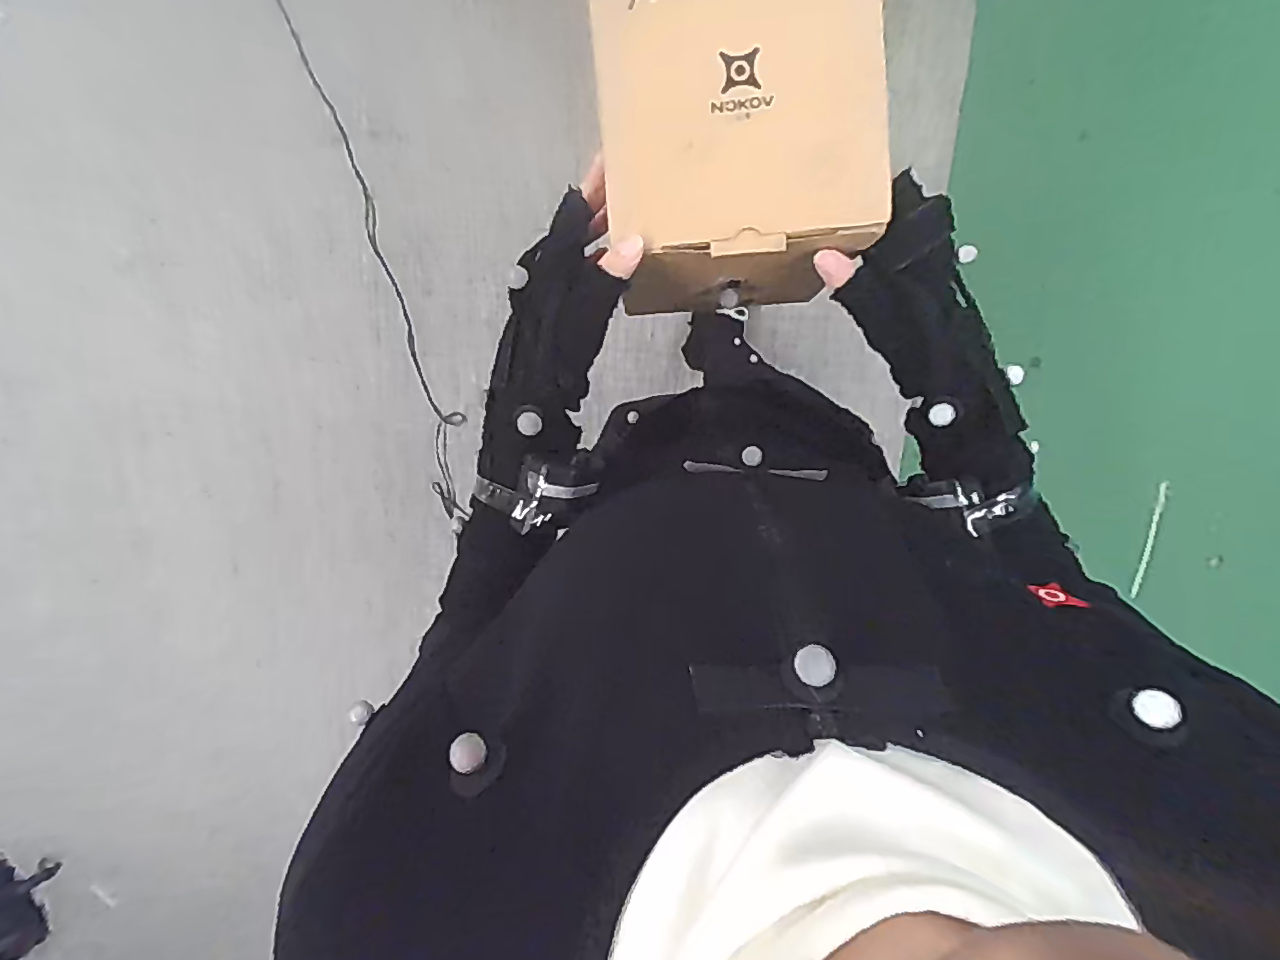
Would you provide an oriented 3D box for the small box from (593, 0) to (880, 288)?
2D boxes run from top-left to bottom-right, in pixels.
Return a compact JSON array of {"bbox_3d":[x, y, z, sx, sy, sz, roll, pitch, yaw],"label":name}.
[{"bbox_3d":[0.061,-0.249,0.398,0.168,0.176,0.179,-5,96,2],"label":"small box"}]
